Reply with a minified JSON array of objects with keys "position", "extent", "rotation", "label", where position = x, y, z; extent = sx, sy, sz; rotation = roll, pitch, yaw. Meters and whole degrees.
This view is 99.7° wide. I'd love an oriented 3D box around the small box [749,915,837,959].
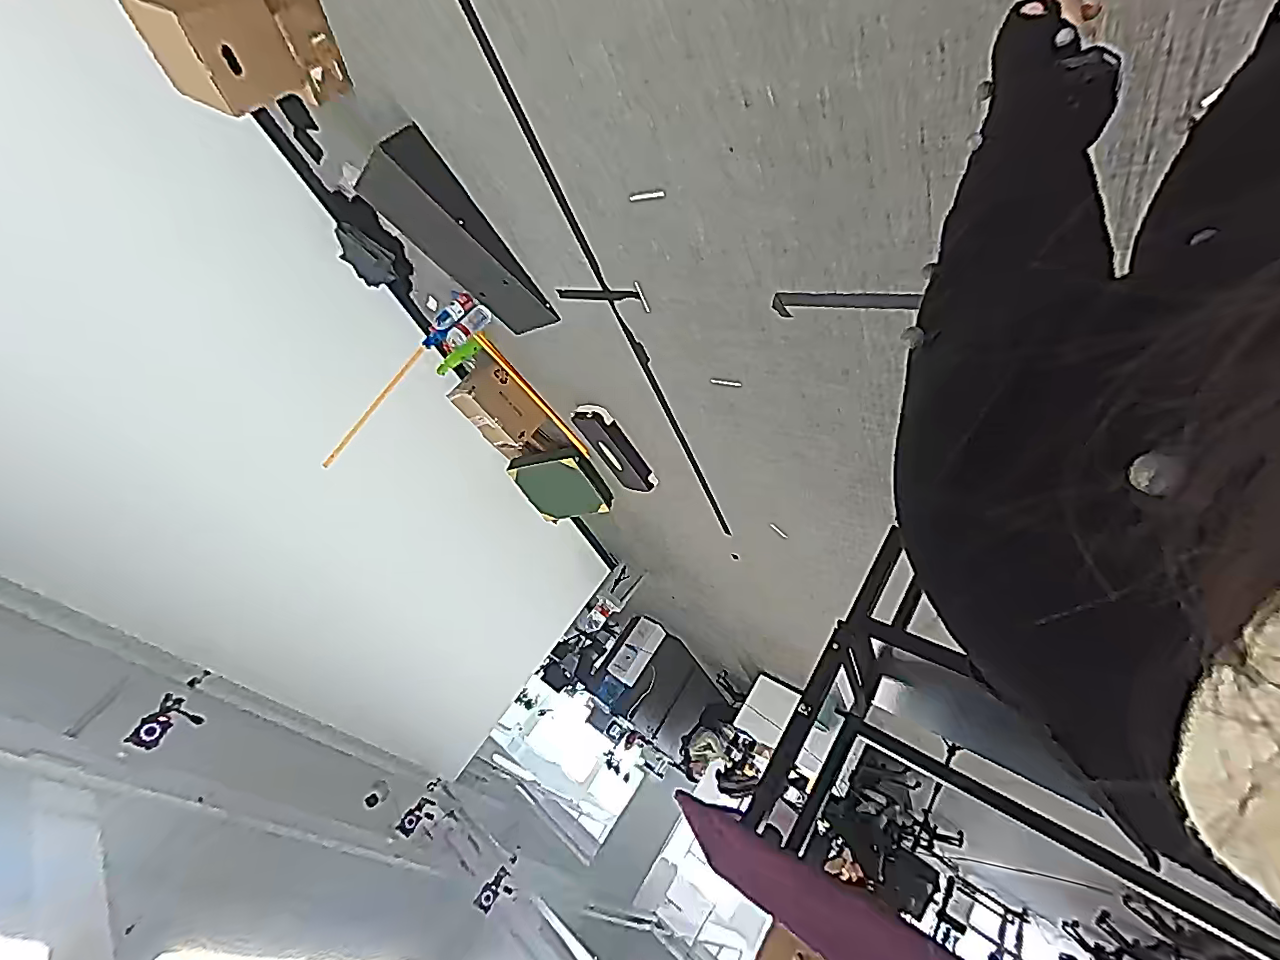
[{"position":[0.373,1.194,1.306],"extent":[0.179,0.176,0.168],"rotation":[18,152,40],"label":"small box"}]
